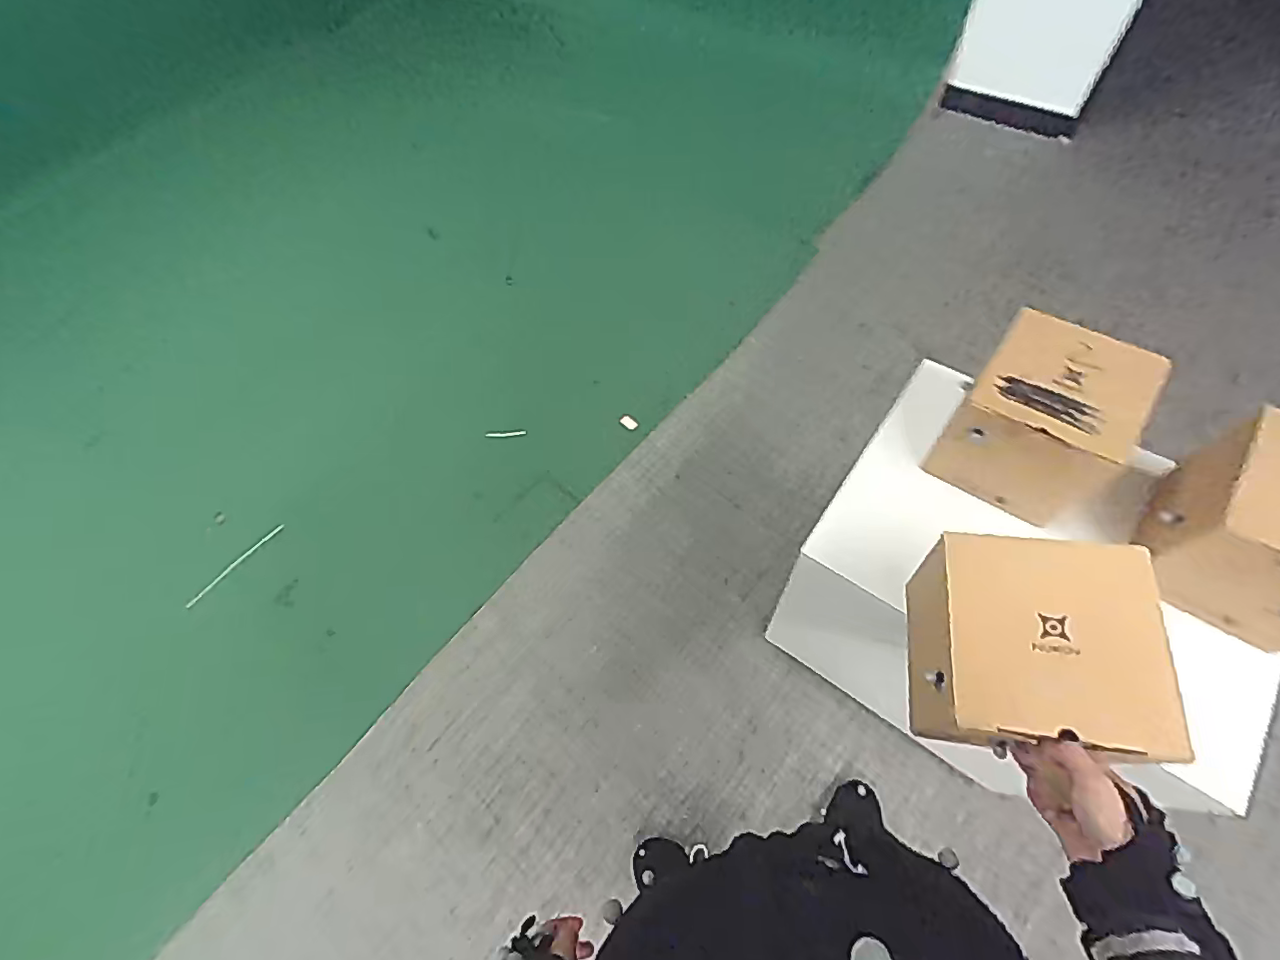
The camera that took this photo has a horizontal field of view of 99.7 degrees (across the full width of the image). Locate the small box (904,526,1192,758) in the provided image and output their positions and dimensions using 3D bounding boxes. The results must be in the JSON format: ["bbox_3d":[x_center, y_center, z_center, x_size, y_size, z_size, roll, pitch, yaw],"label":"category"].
[{"bbox_3d":[0.368,0.161,0.532,0.168,0.176,0.179,3,66,15],"label":"small box"}]

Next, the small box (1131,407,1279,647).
[{"bbox_3d":[0.701,0.060,0.601,0.168,0.176,0.179,33,70,21],"label":"small box"}]
